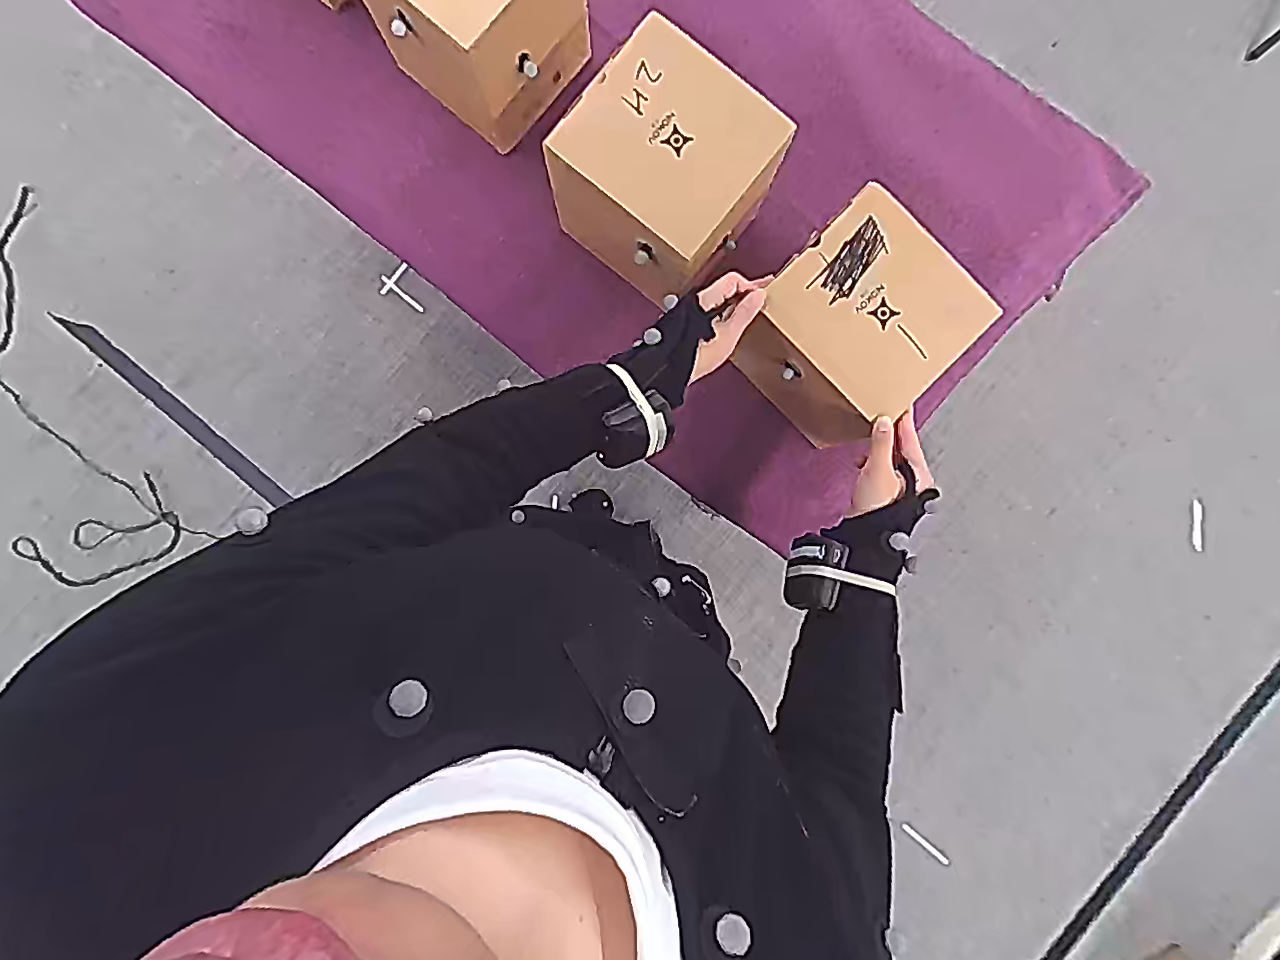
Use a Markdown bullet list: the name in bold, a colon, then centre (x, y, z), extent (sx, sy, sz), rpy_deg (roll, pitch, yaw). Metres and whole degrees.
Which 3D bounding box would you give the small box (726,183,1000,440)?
- **small box**: centre (0.215, -0.158, 0.577), extent (0.168, 0.176, 0.179), rpy_deg (-45, 90, -1)

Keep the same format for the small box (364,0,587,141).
- **small box**: centre (-0.173, -0.510, 0.578), extent (0.179, 0.176, 0.168), rpy_deg (40, 89, 0)

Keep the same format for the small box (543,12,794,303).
- **small box**: centre (0.026, -0.314, 0.576), extent (0.179, 0.176, 0.168), rpy_deg (39, 88, 0)
